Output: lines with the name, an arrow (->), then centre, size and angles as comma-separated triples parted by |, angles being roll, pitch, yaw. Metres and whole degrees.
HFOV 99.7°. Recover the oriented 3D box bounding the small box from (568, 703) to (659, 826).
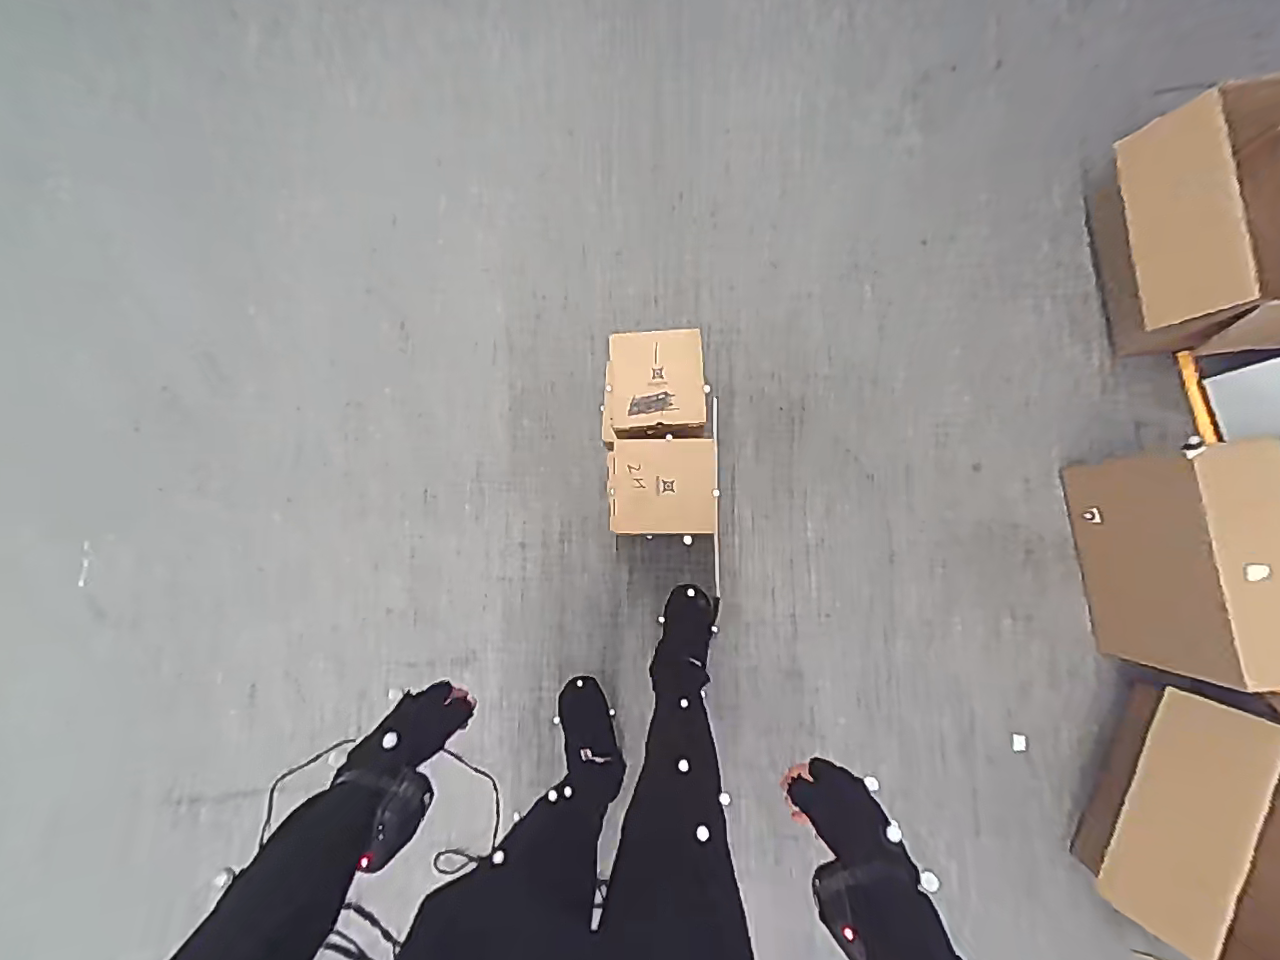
small box -> -0.063, 0.596, 1.146 | 0.168, 0.176, 0.179 | 6, 87, -10
